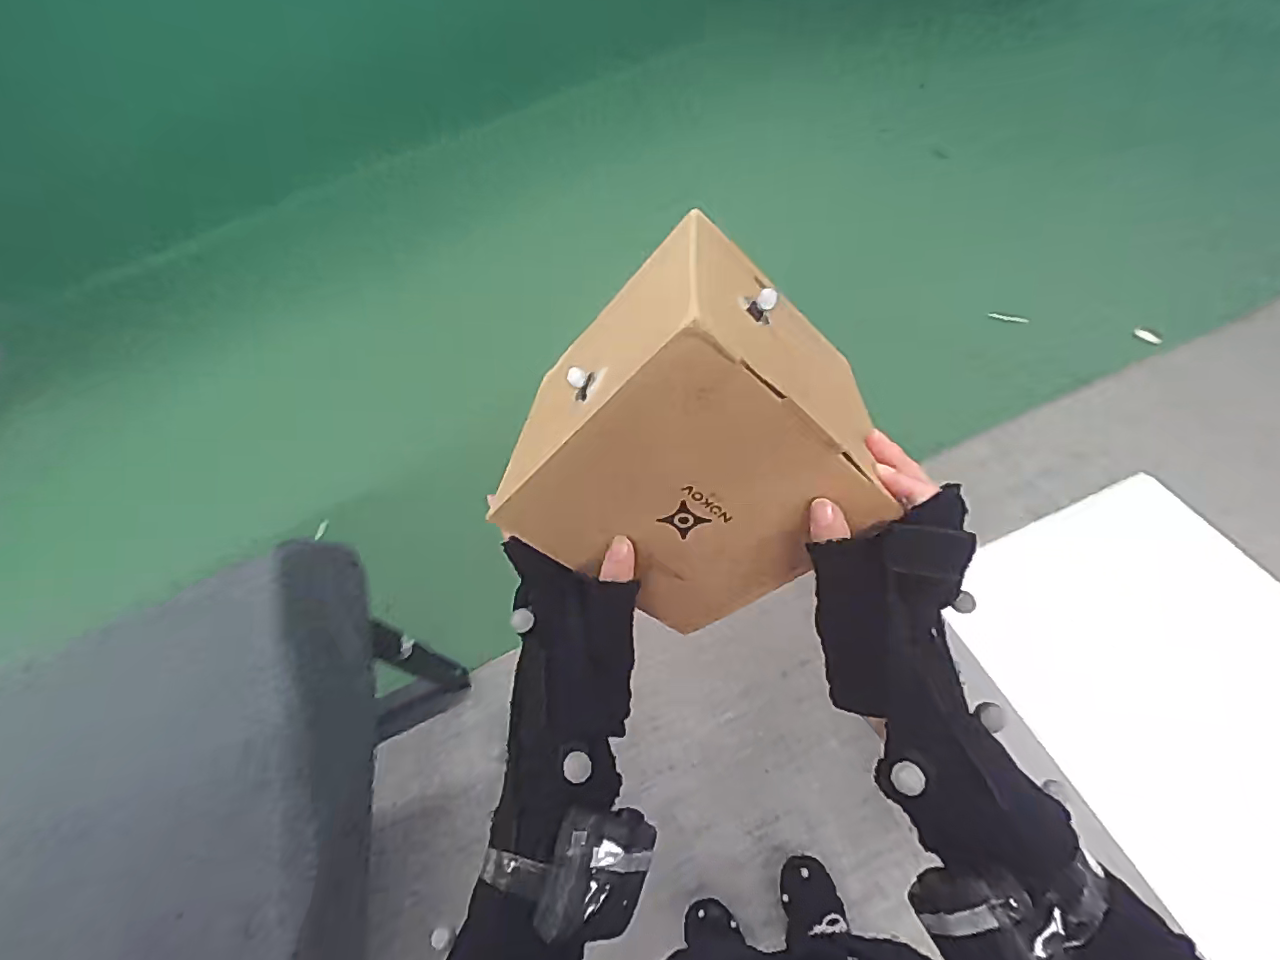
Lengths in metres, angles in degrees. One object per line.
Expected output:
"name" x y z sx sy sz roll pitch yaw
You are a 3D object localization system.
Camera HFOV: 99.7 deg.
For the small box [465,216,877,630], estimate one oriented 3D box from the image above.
"small box" 0.016 -0.035 0.359 0.179 0.168 0.176 -41 27 35
